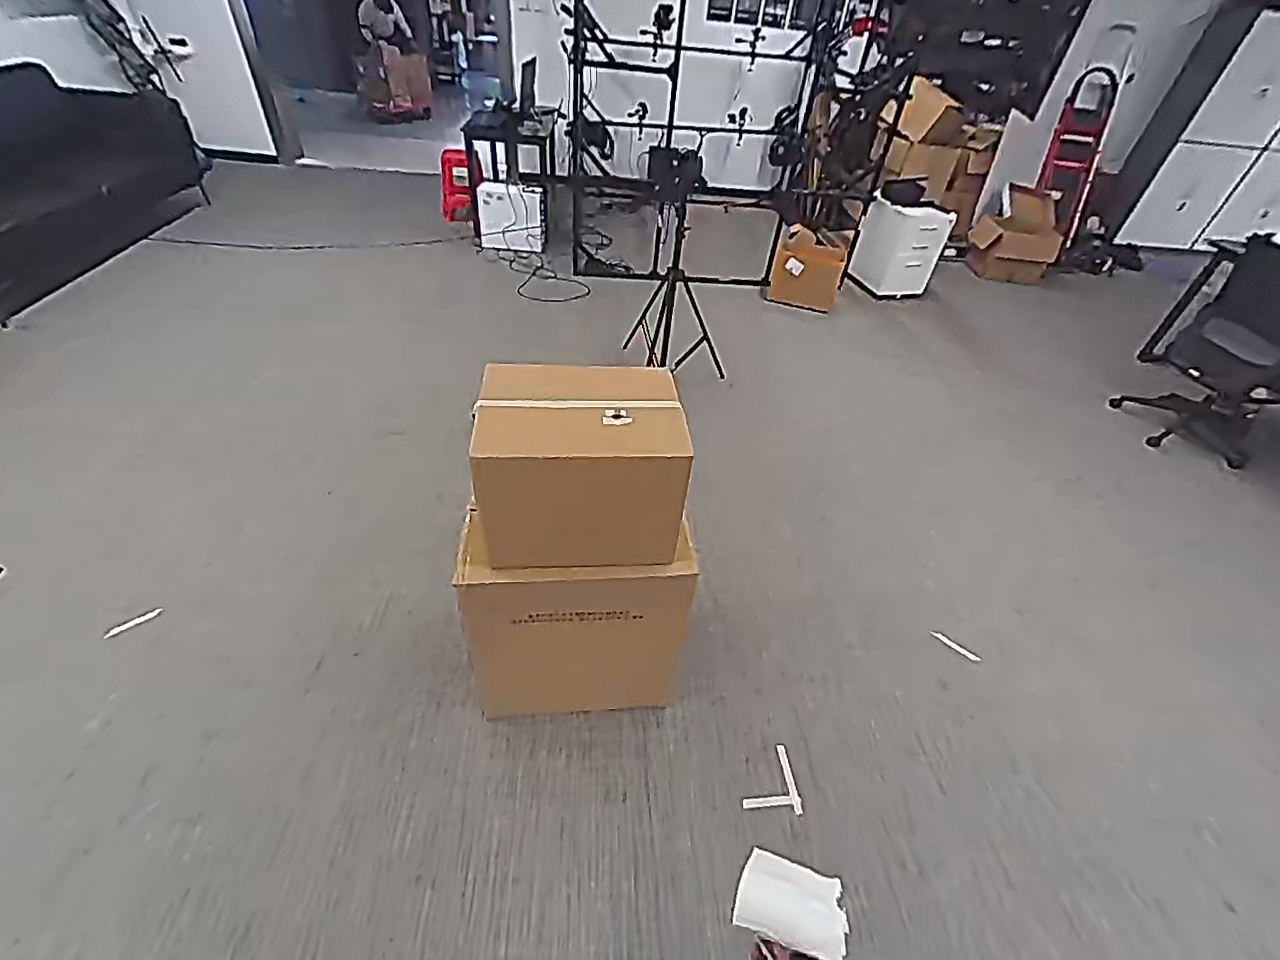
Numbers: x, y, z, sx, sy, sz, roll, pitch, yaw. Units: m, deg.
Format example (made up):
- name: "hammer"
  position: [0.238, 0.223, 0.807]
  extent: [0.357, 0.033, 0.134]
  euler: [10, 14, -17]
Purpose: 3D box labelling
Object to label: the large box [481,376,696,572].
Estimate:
- name: "large box"
  position: [-0.122, -0.017, 1.193]
  extent: [0.408, 0.320, 0.320]
  euler: [0, 42, -8]
